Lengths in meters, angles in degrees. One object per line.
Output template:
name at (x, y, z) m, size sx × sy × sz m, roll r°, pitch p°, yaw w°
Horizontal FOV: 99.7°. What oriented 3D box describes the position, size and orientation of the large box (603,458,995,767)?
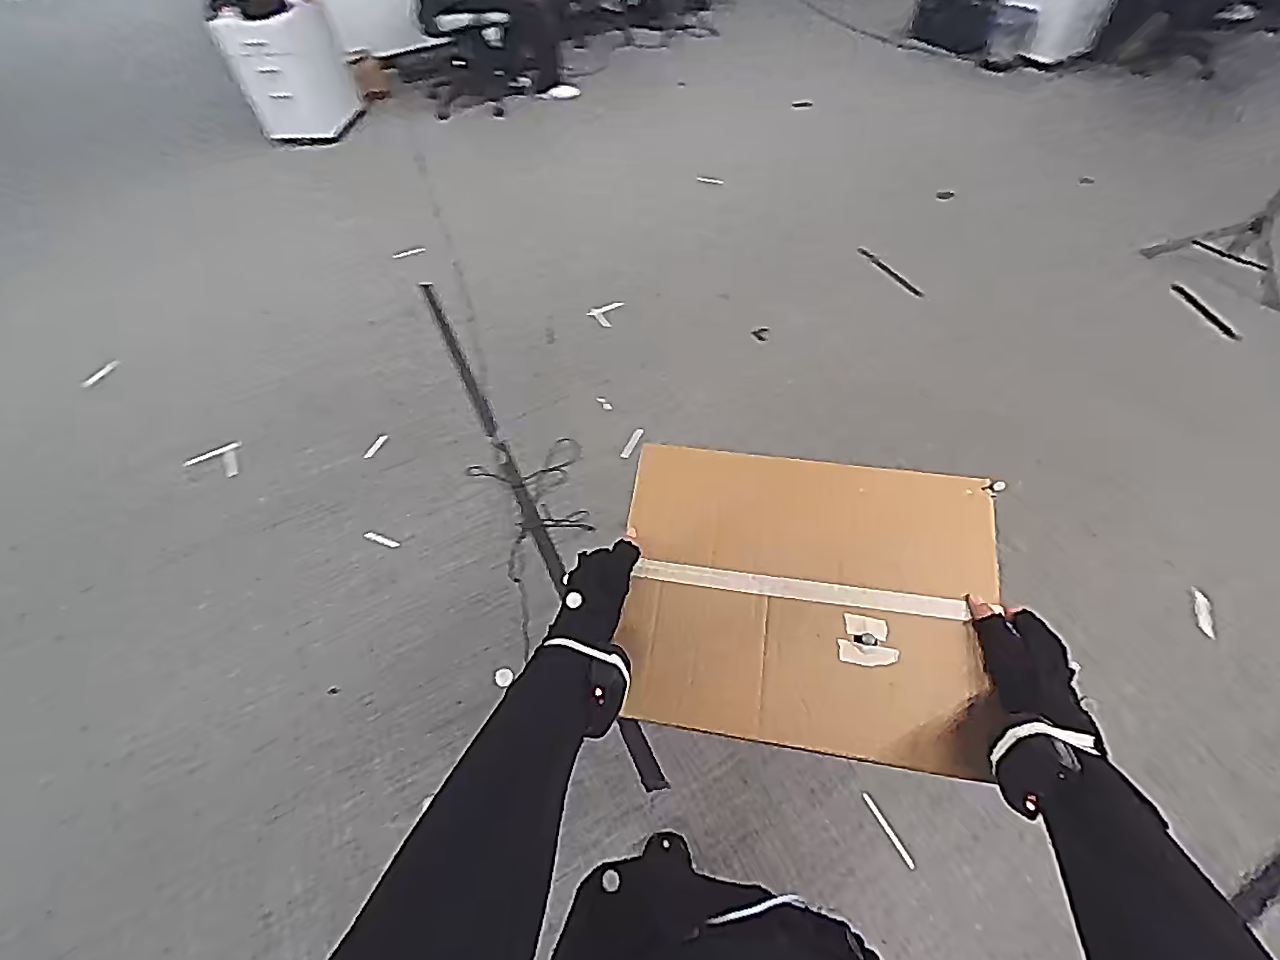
large box at (0.183, 0.185, 0.747) m, size 0.408 × 0.320 × 0.320 m, roll 6°, pitch 69°, yaw 7°
